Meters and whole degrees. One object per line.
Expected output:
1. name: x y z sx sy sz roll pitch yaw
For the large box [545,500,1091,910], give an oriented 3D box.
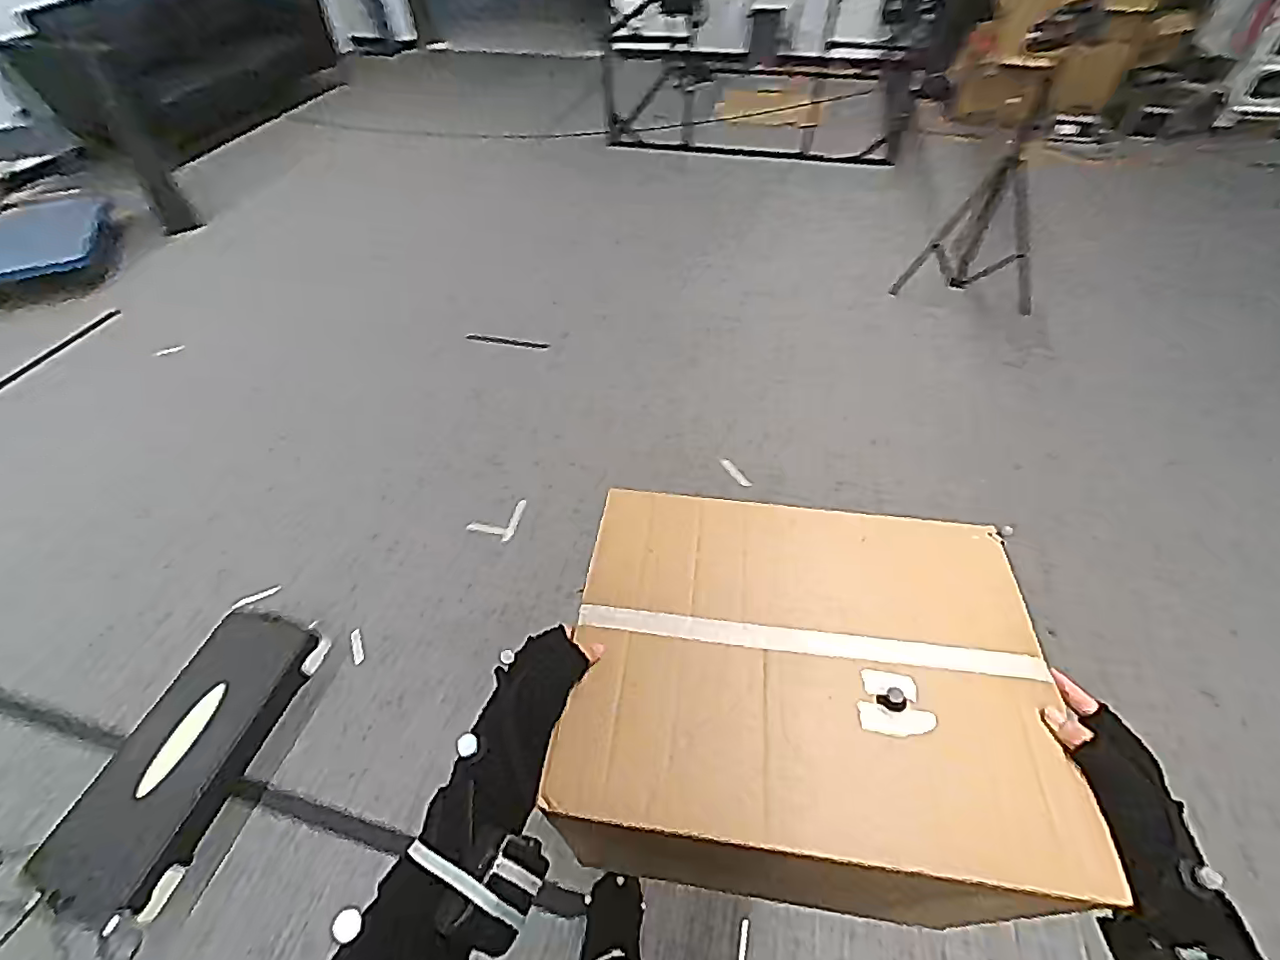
1. large box: 0.138 0.249 0.603 0.408 0.320 0.320 5 49 5
